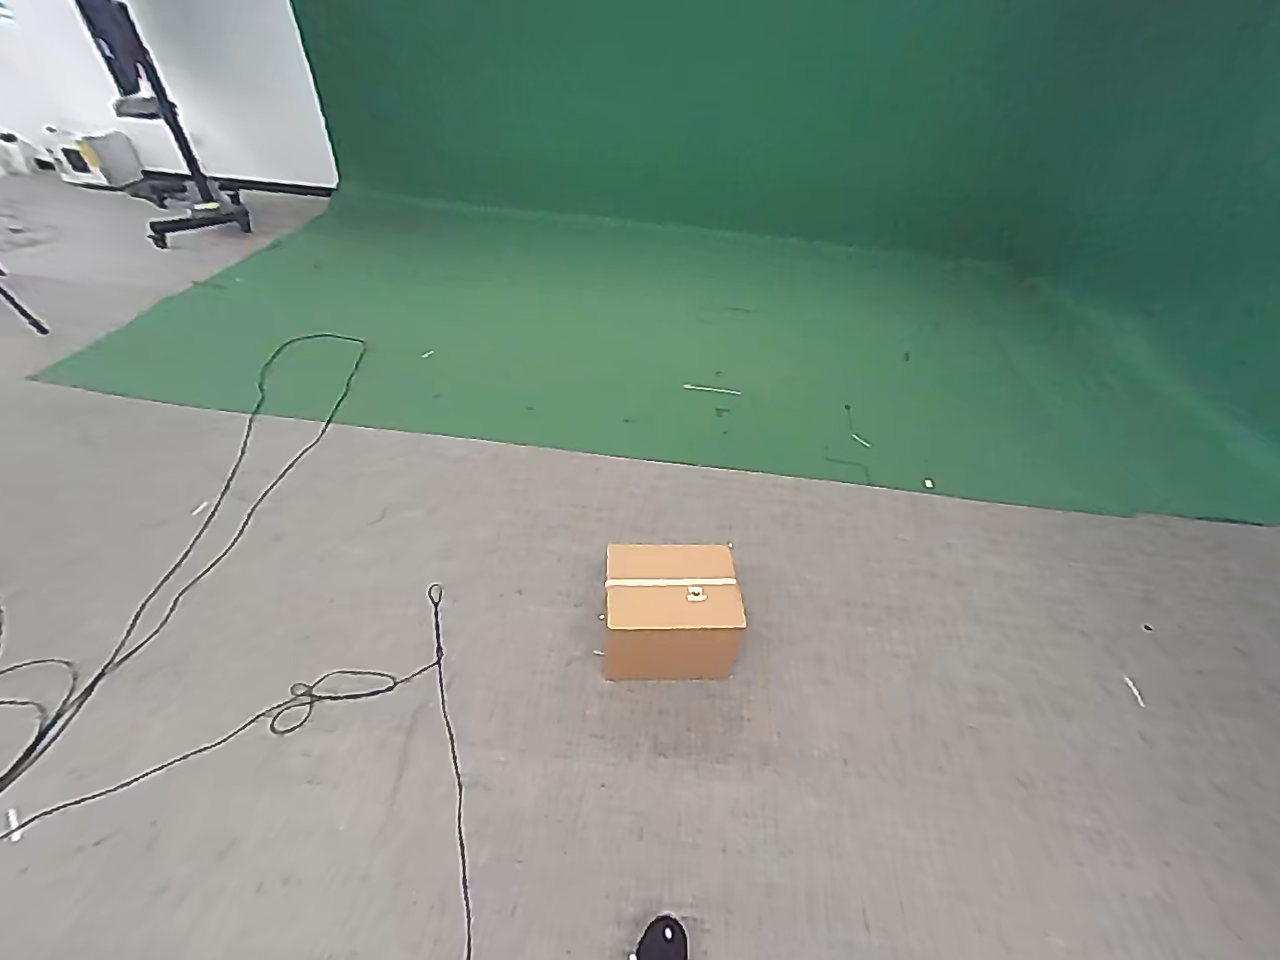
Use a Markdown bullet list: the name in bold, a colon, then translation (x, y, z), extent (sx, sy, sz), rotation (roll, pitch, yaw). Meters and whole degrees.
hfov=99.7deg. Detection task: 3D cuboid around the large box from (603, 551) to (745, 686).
- **large box**: translation (0.087, 0.446, 1.750), extent (0.408, 0.320, 0.320), rotation (1, 42, -5)
